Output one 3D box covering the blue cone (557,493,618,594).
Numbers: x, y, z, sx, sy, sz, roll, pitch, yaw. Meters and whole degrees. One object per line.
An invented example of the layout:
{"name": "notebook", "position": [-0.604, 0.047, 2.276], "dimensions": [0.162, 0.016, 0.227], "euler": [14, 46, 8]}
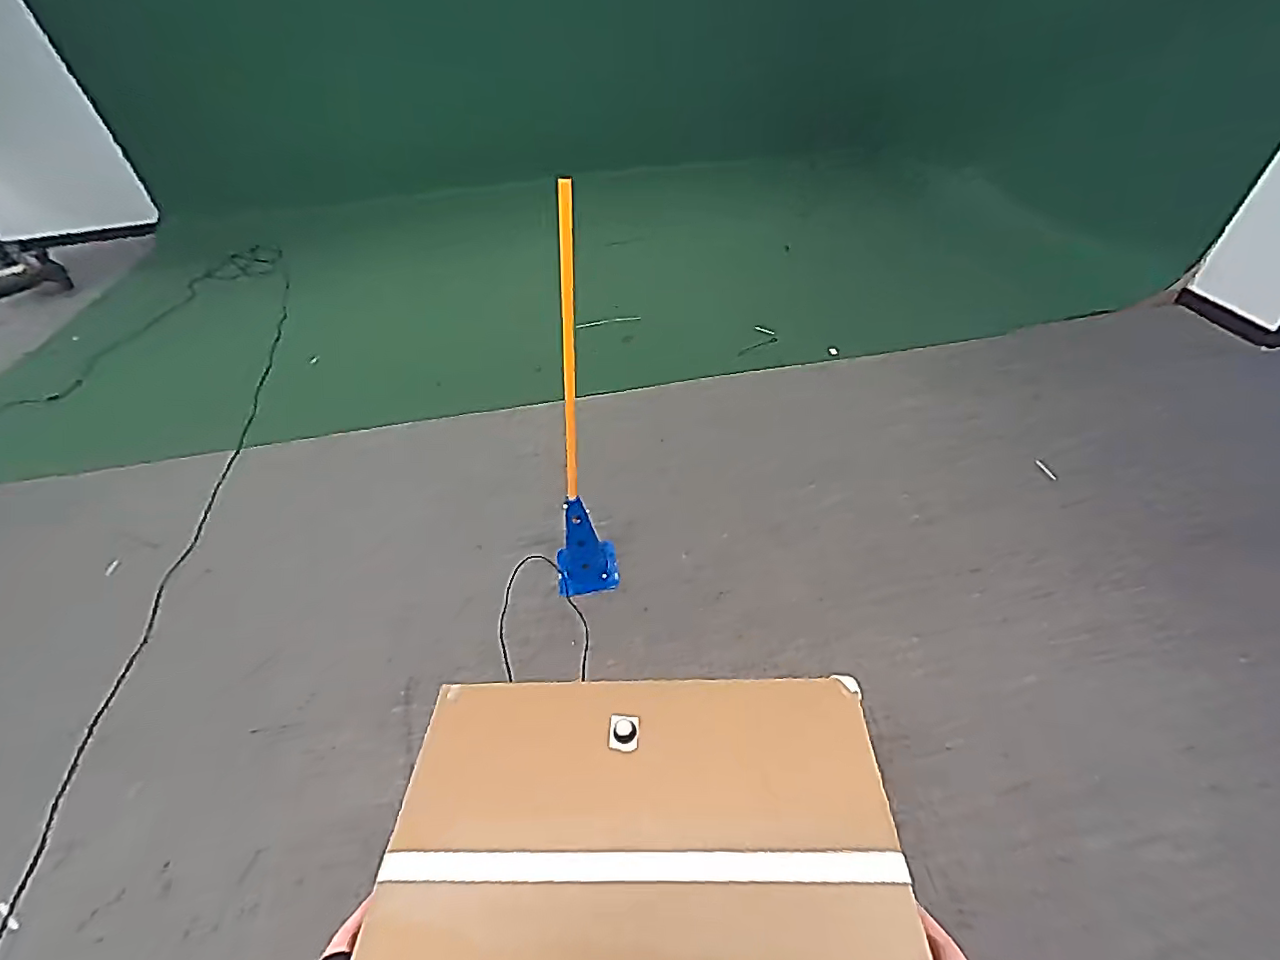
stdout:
{"name": "blue cone", "position": [-0.184, 0.173, 1.699], "dimensions": [0.193, 0.380, 0.192], "euler": [-10, 46, -7]}
